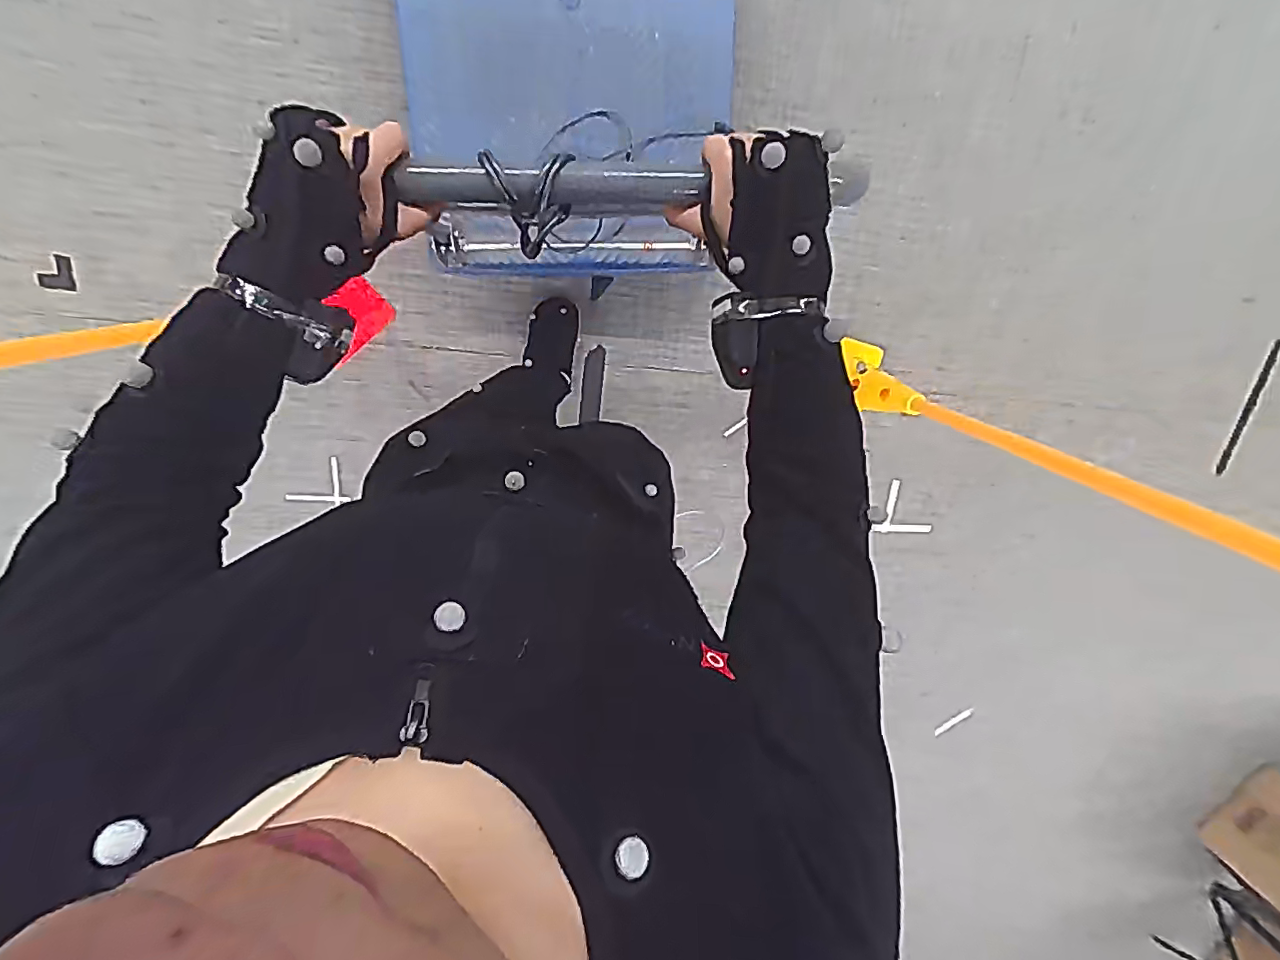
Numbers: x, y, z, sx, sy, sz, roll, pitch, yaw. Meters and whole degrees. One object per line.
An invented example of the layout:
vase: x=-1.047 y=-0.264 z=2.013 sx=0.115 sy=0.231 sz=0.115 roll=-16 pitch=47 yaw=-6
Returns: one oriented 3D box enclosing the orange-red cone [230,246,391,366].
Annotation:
orange-red cone: x=-0.654 y=-0.318 z=1.019 sx=0.199 sy=0.360 sz=0.198 roll=-38 pitch=110 yaw=6
